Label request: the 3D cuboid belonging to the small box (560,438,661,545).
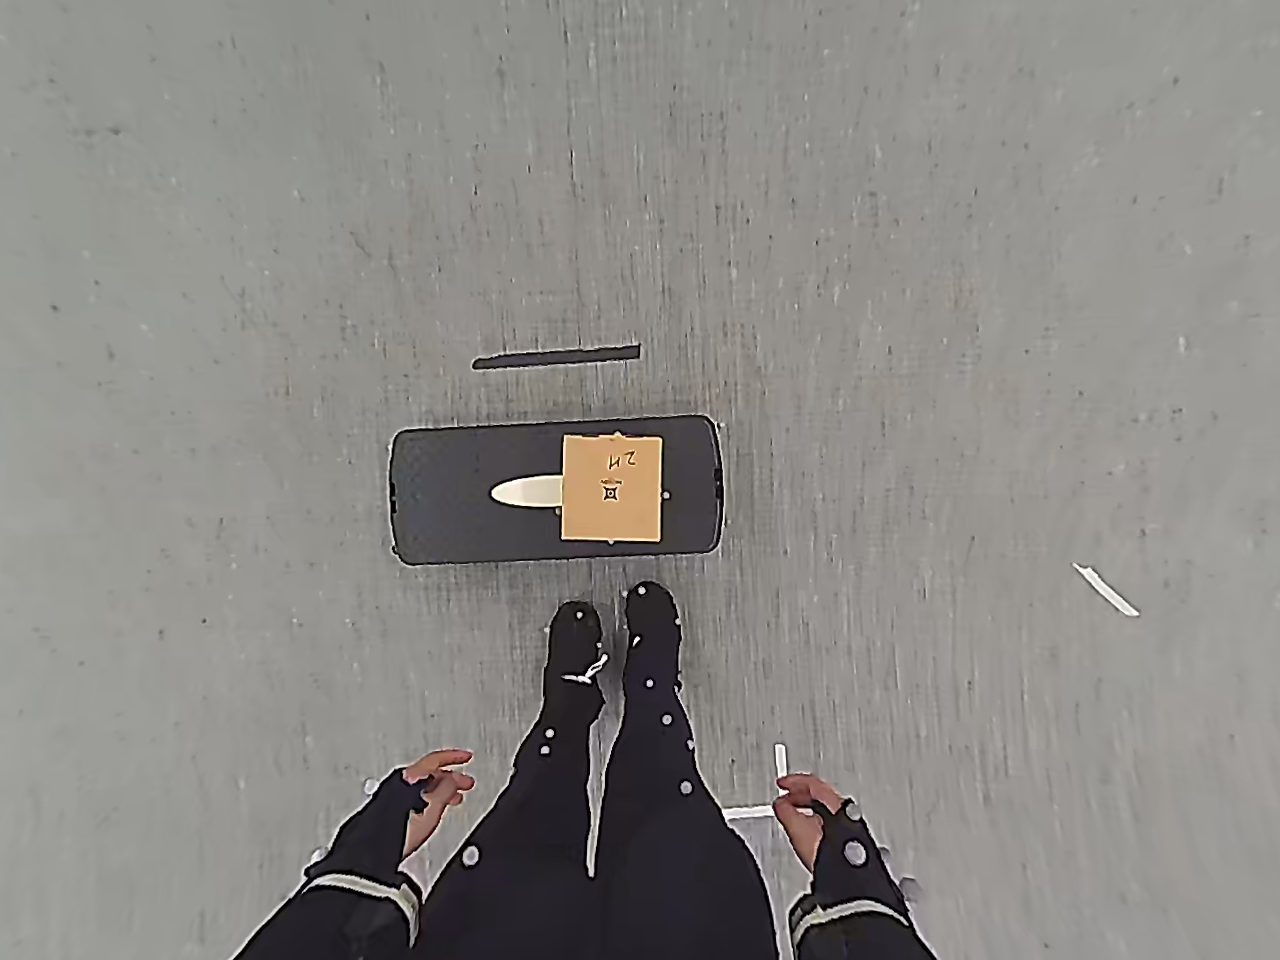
[{"bbox_3d":[-0.047,0.019,0.974,0.168,0.176,0.179,1,89,1],"label":"small box"}]
